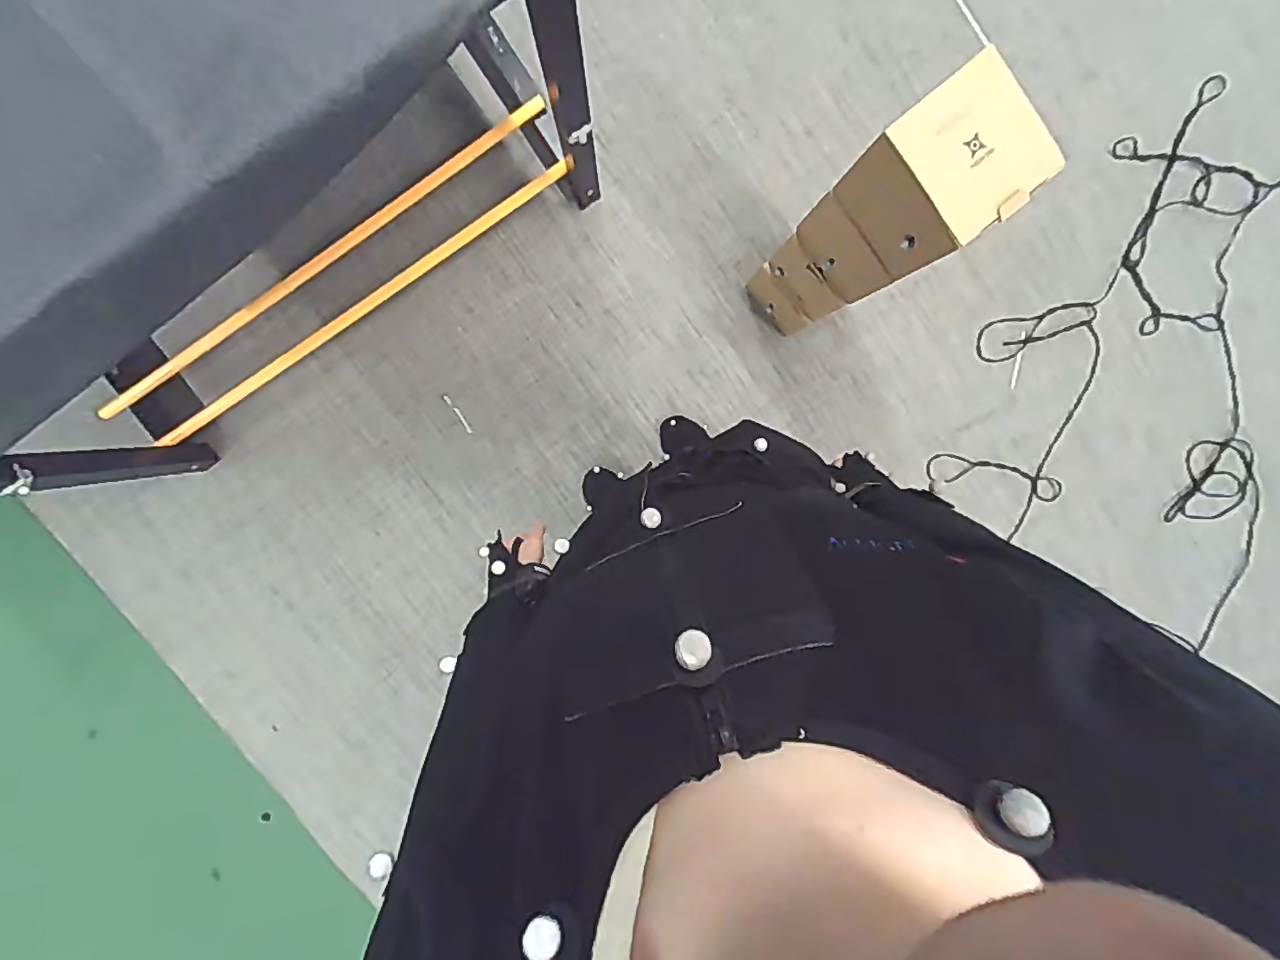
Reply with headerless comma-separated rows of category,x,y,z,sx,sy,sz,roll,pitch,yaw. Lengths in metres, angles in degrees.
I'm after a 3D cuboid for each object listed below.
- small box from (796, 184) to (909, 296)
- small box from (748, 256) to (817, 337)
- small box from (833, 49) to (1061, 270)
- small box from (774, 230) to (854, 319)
small box,0.396,-0.432,0.906,0.168,0.176,0.179,-39,96,2
small box,0.372,-0.453,1.233,0.179,0.176,0.168,-41,95,3
small box,0.405,-0.416,0.744,0.168,0.176,0.179,-39,95,1
small box,0.387,-0.444,1.069,0.179,0.176,0.168,-40,96,1
